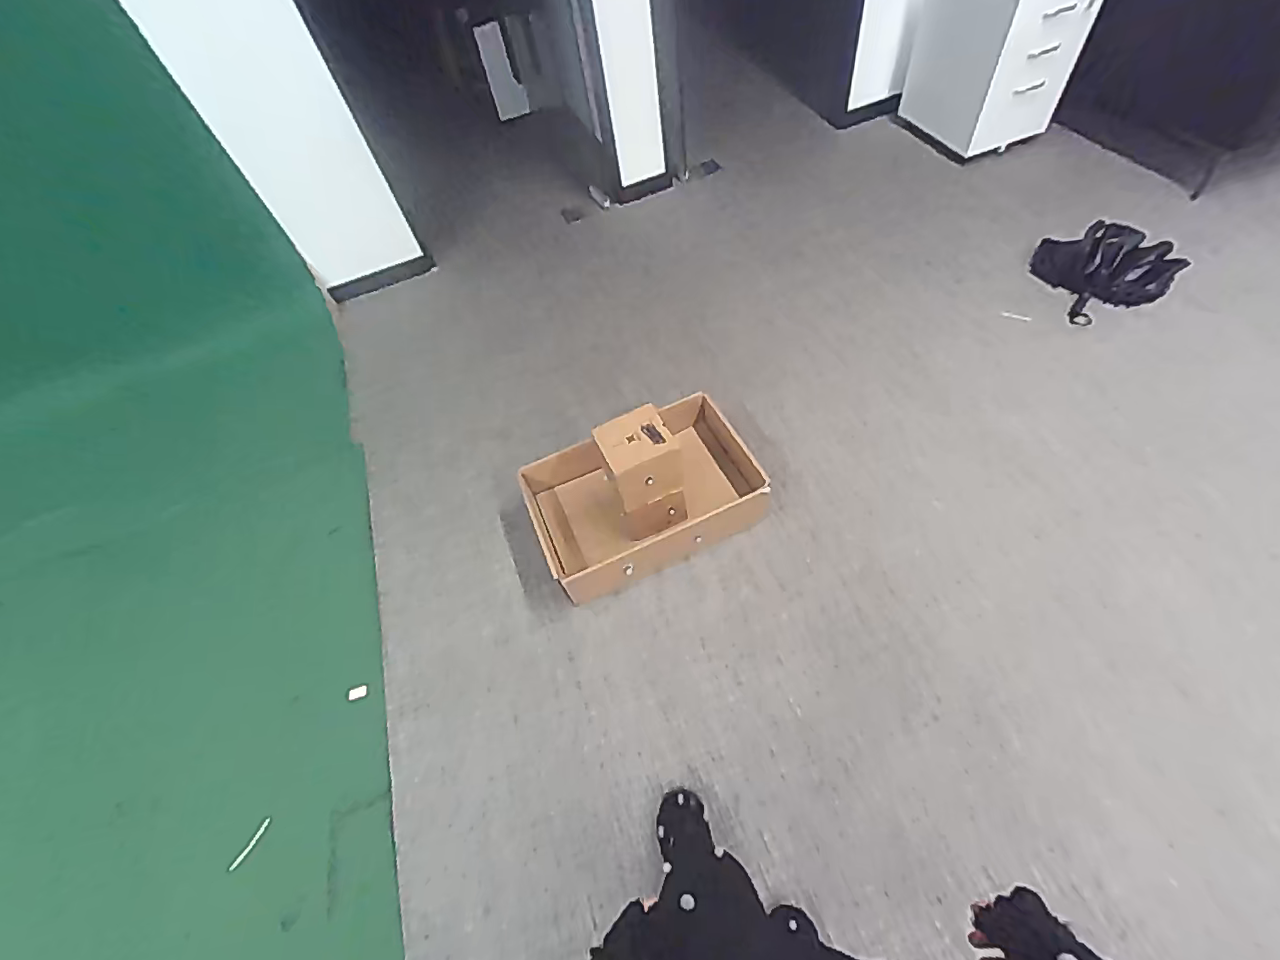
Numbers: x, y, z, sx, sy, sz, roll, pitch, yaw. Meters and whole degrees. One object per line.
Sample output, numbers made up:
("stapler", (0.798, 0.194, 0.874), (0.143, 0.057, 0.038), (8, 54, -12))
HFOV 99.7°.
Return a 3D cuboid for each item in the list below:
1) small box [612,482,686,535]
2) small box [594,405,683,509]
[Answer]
("small box", (0.023, 0.035, 1.532), (0.168, 0.176, 0.179), (-22, 54, -6))
("small box", (0.002, -0.056, 1.398), (0.179, 0.176, 0.168), (-24, 55, -6))
